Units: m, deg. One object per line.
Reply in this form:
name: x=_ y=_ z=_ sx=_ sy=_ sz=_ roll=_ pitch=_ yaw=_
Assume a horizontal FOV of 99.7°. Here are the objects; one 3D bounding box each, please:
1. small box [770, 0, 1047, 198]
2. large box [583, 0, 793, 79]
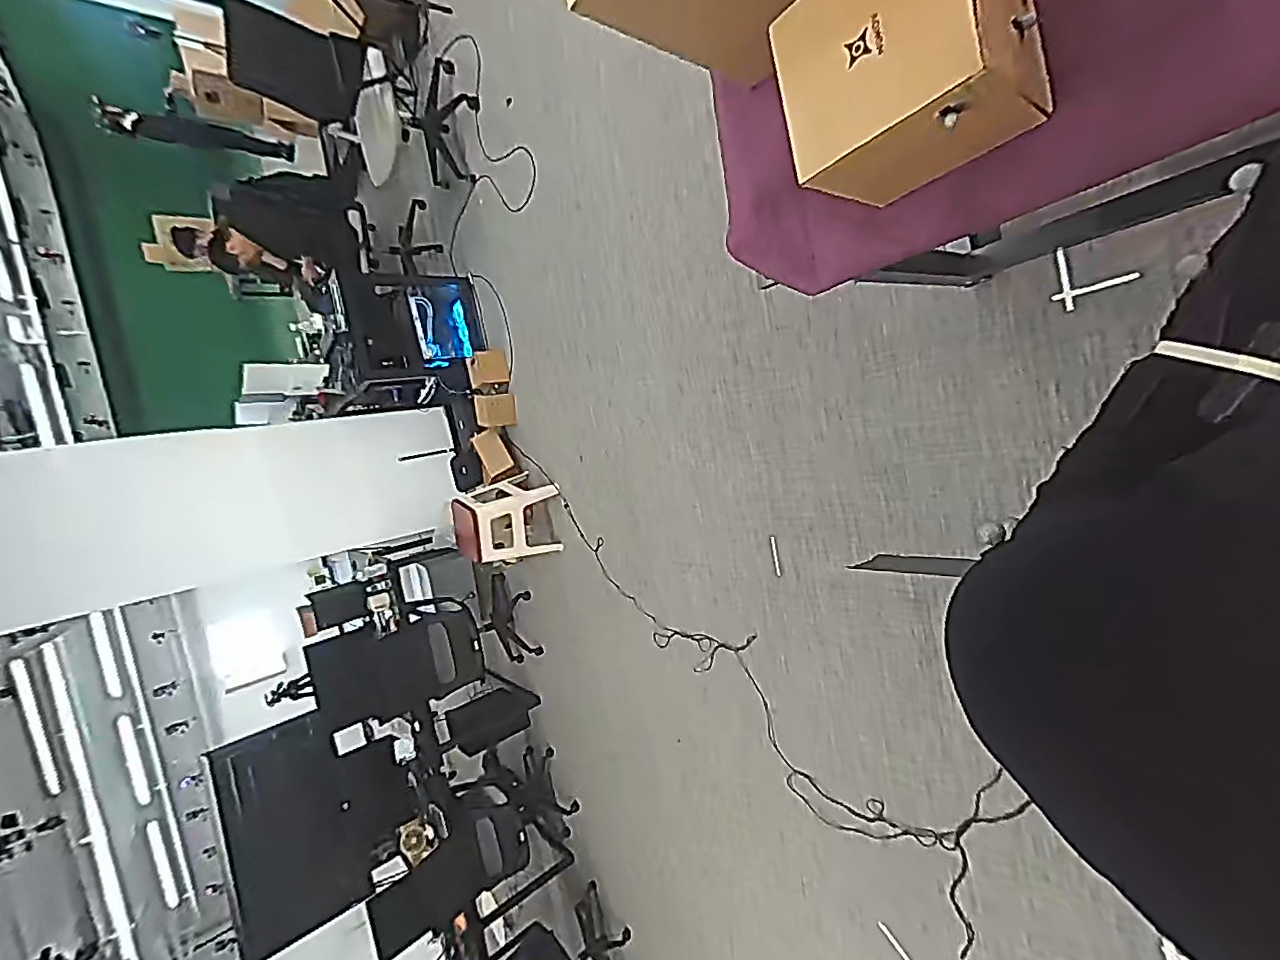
small box: x=0.261 y=-0.407 z=0.534 sx=0.179 sy=0.176 sz=0.168 roll=-11 pitch=91 yaw=52
large box: x=0.102 y=-0.717 z=0.519 sx=0.320 sy=0.320 sz=0.408 roll=-9 pitch=97 yaw=52
